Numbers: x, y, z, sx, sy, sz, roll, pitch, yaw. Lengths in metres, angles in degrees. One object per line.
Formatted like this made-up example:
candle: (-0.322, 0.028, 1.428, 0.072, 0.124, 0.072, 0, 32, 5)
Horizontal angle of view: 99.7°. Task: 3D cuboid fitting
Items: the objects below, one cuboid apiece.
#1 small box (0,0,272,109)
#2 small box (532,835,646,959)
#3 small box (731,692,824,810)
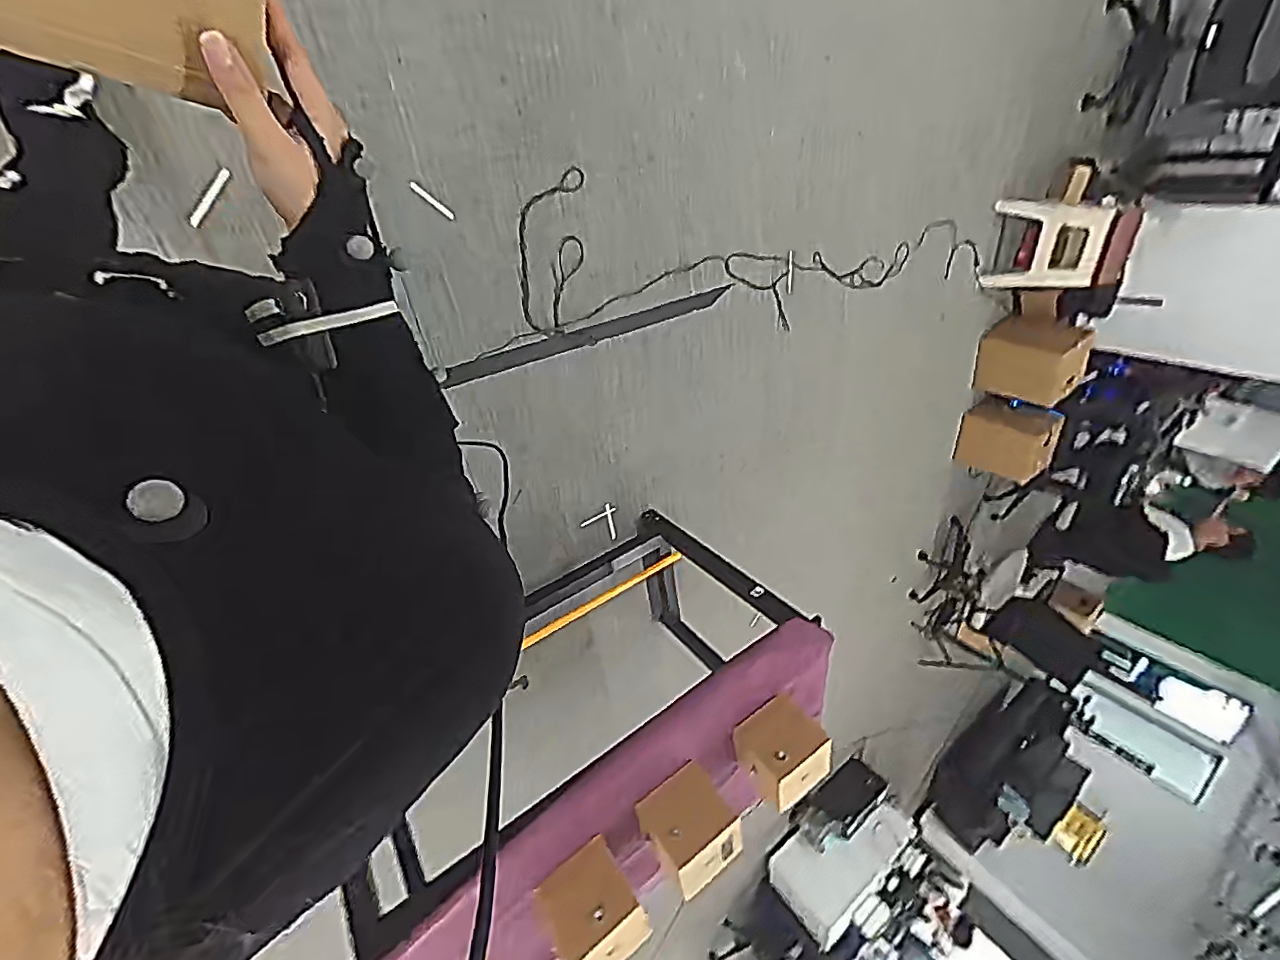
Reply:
small box: (-0.297, -0.336, 0.271, 0.179, 0.176, 0.168, -5, 142, -39)
small box: (-0.113, 0.916, 1.150, 0.179, 0.176, 0.168, -29, 128, -25)
small box: (0.349, 0.696, 1.399, 0.179, 0.176, 0.168, -27, 128, -22)
